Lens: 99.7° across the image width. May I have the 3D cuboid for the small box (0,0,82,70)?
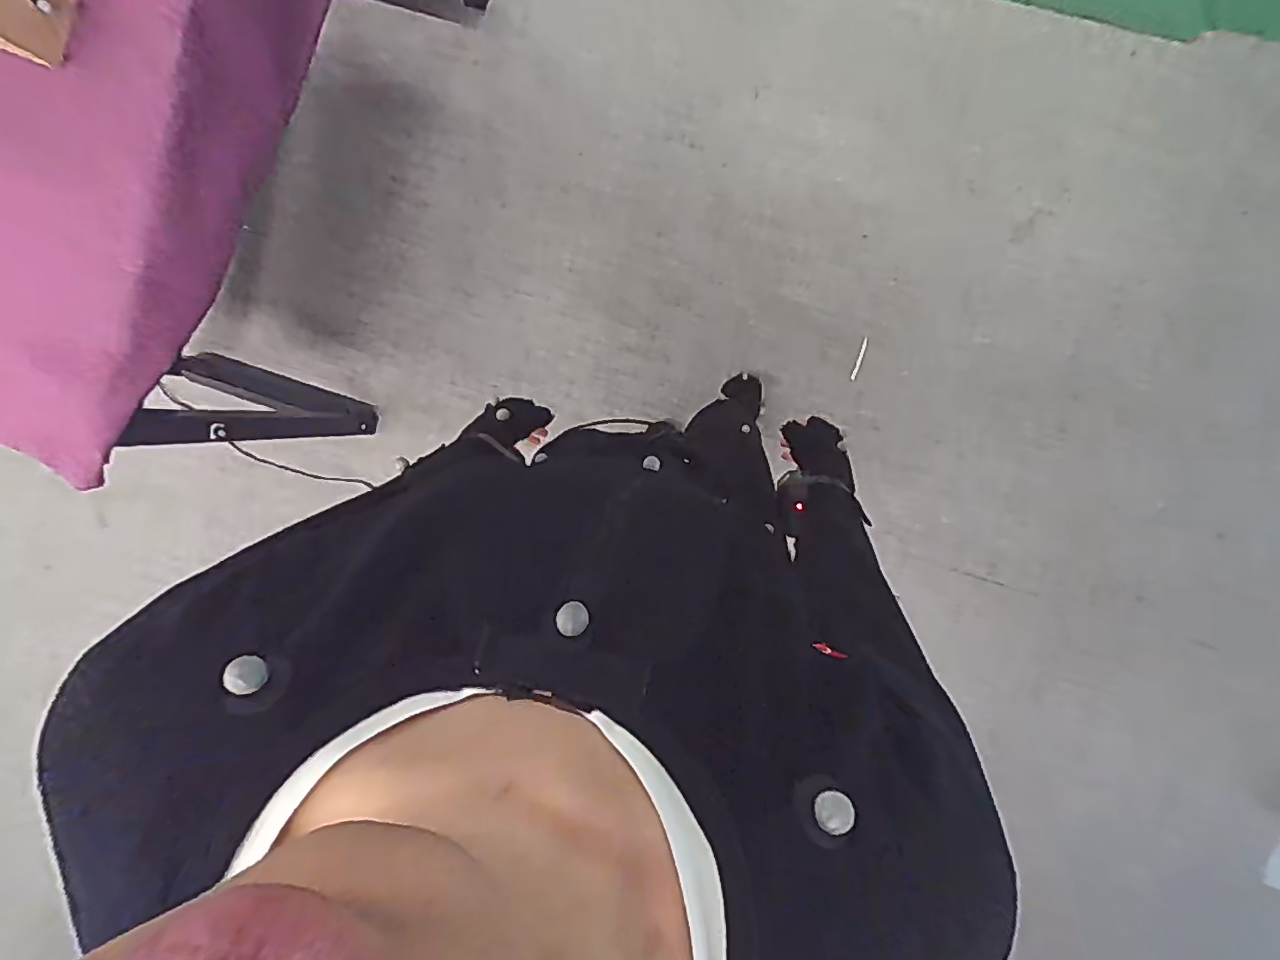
[{"bbox_3d":[-0.847,-0.649,0.655,0.179,0.176,0.168,23,99,2],"label":"small box"}]
